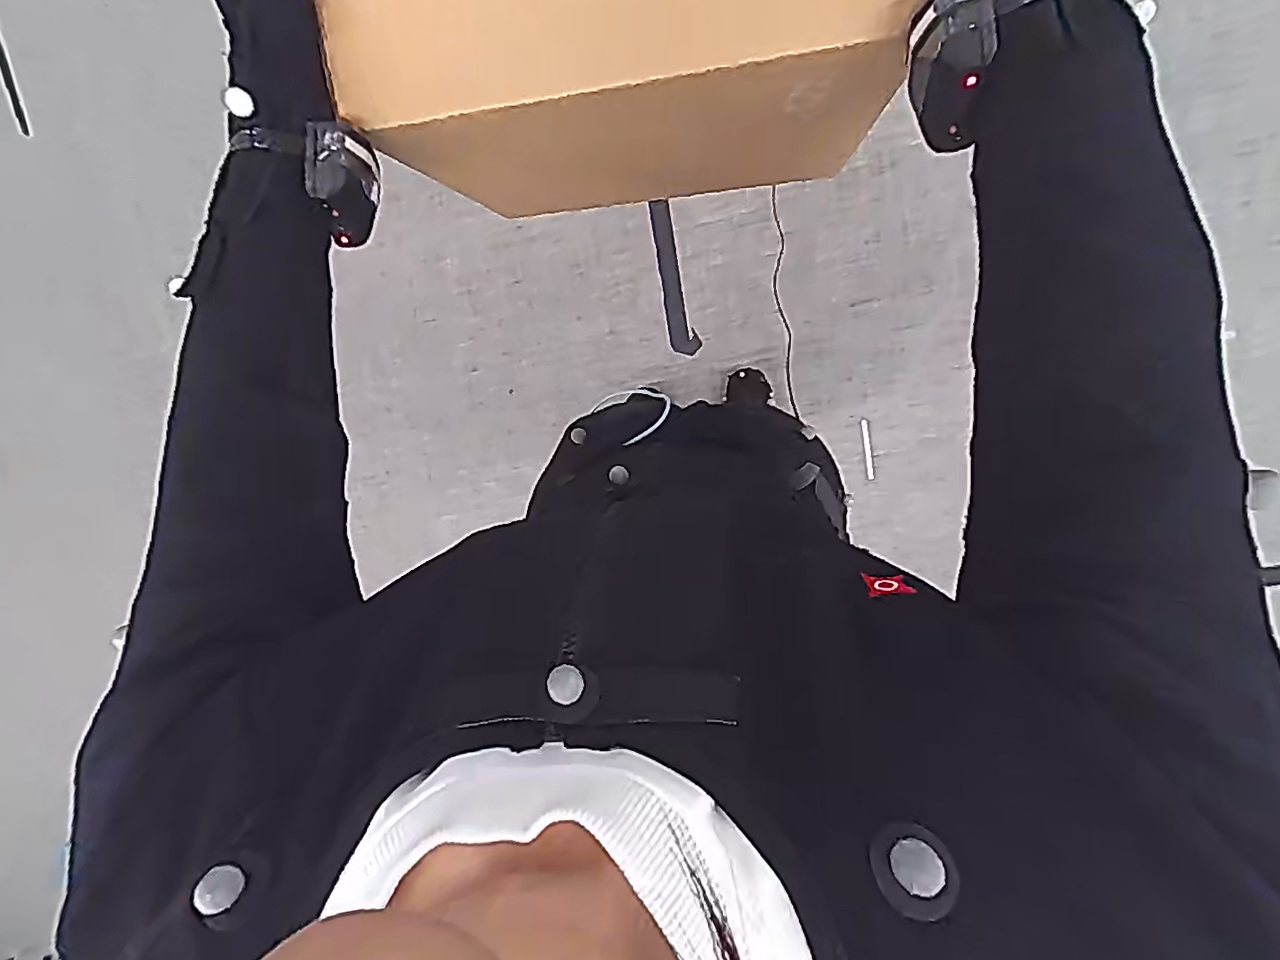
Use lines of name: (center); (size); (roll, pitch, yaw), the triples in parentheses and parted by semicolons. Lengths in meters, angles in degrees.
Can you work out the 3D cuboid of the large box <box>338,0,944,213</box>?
large box: (-0.004, -0.457, 0.470); (0.408, 0.320, 0.320); (-4, 105, 9)
